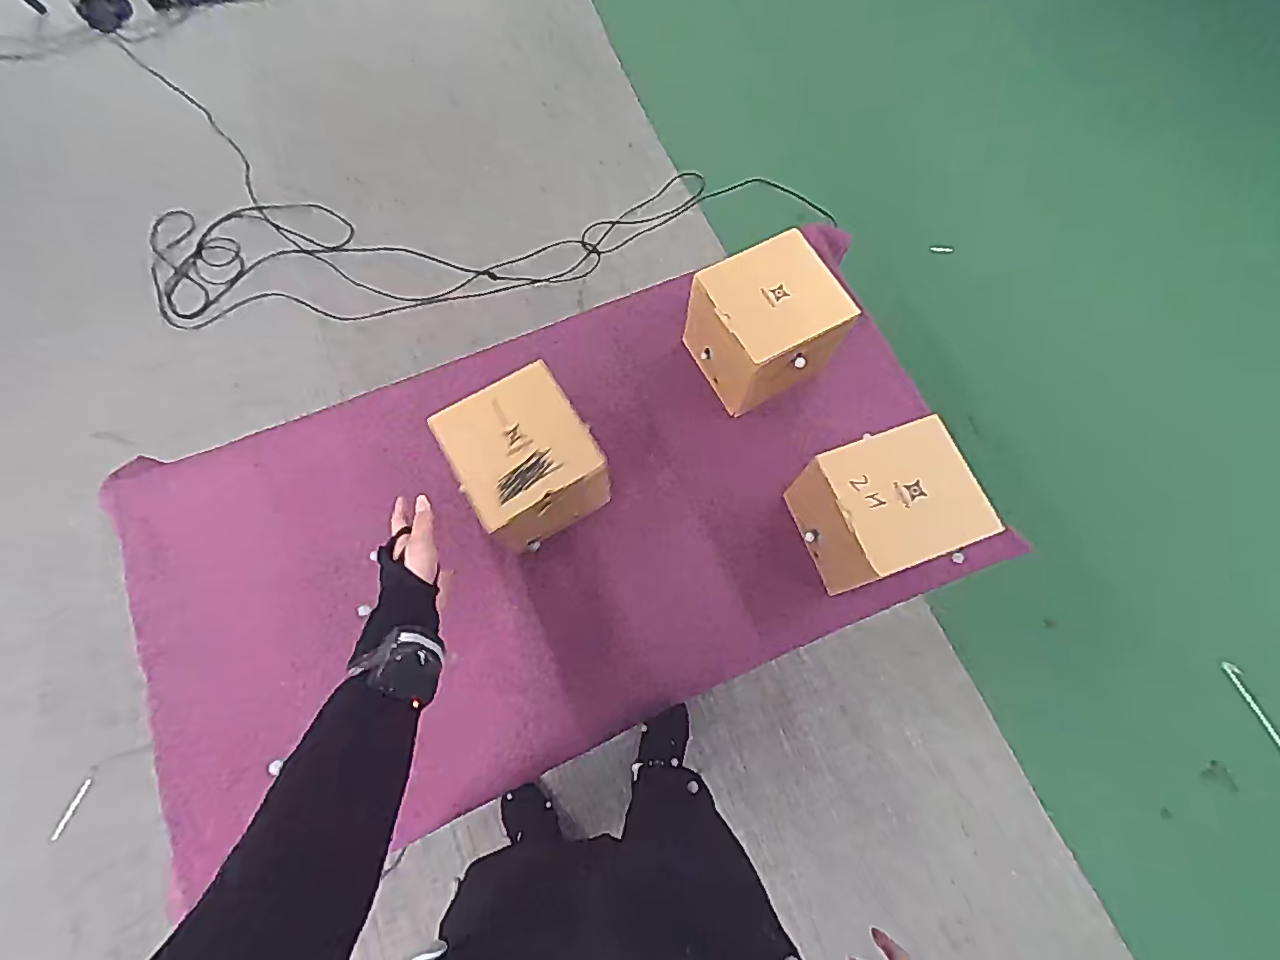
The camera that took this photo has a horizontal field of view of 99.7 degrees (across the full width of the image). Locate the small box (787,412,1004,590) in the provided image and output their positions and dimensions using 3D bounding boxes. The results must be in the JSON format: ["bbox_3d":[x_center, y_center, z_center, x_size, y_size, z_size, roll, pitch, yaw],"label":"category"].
[{"bbox_3d":[0.324,0.037,0.728,0.179,0.176,0.168,-19,72,-5],"label":"small box"}]

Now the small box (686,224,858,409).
[{"bbox_3d":[0.184,-0.236,0.816,0.179,0.176,0.168,-28,75,-7],"label":"small box"}]
